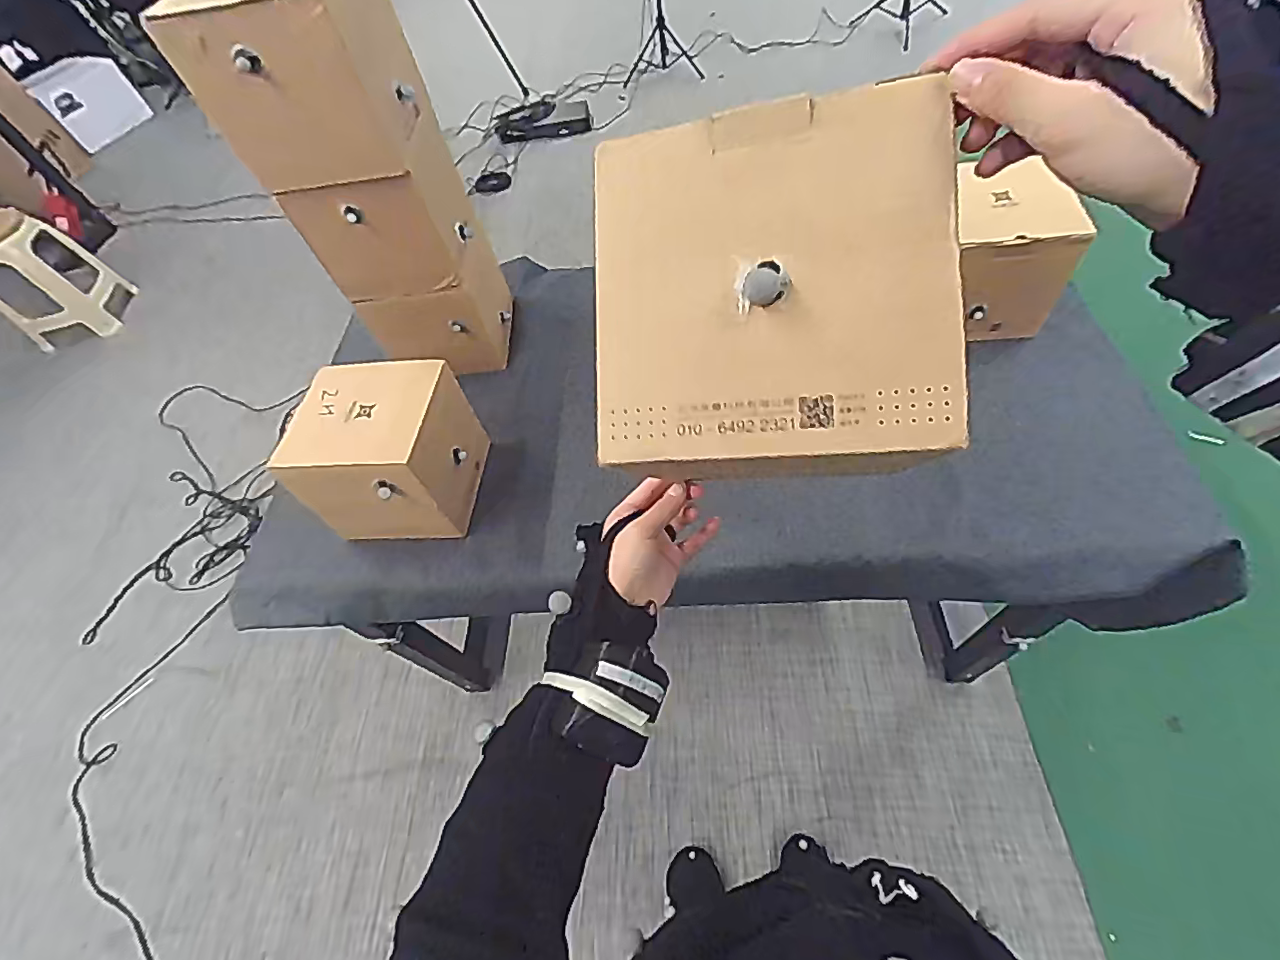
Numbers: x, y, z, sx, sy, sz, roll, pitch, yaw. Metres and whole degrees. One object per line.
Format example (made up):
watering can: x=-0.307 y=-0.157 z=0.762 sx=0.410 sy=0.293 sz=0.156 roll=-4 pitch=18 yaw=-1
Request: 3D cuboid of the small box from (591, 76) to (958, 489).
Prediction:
small box: x=0.078 y=-0.084 z=0.328 sx=0.168 sy=0.179 sz=0.176 roll=-1 pitch=87 yaw=15

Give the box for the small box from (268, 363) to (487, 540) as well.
small box: x=-0.321 y=-0.032 z=0.707 sx=0.179 sy=0.176 sz=0.168 roll=-2 pitch=54 yaw=8

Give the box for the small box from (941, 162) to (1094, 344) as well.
small box: x=0.478 y=-0.315 z=0.767 sx=0.168 sy=0.176 sz=0.179 roll=-1 pitch=59 yaw=9

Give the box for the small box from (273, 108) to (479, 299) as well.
small box: x=-0.341 y=-0.368 z=0.737 sx=0.179 sy=0.176 sz=0.168 roll=-6 pitch=59 yaw=4

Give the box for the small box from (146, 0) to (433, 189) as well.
small box: x=-0.358 y=-0.446 z=0.594 sx=0.179 sy=0.176 sz=0.168 roll=-4 pitch=59 yaw=5
